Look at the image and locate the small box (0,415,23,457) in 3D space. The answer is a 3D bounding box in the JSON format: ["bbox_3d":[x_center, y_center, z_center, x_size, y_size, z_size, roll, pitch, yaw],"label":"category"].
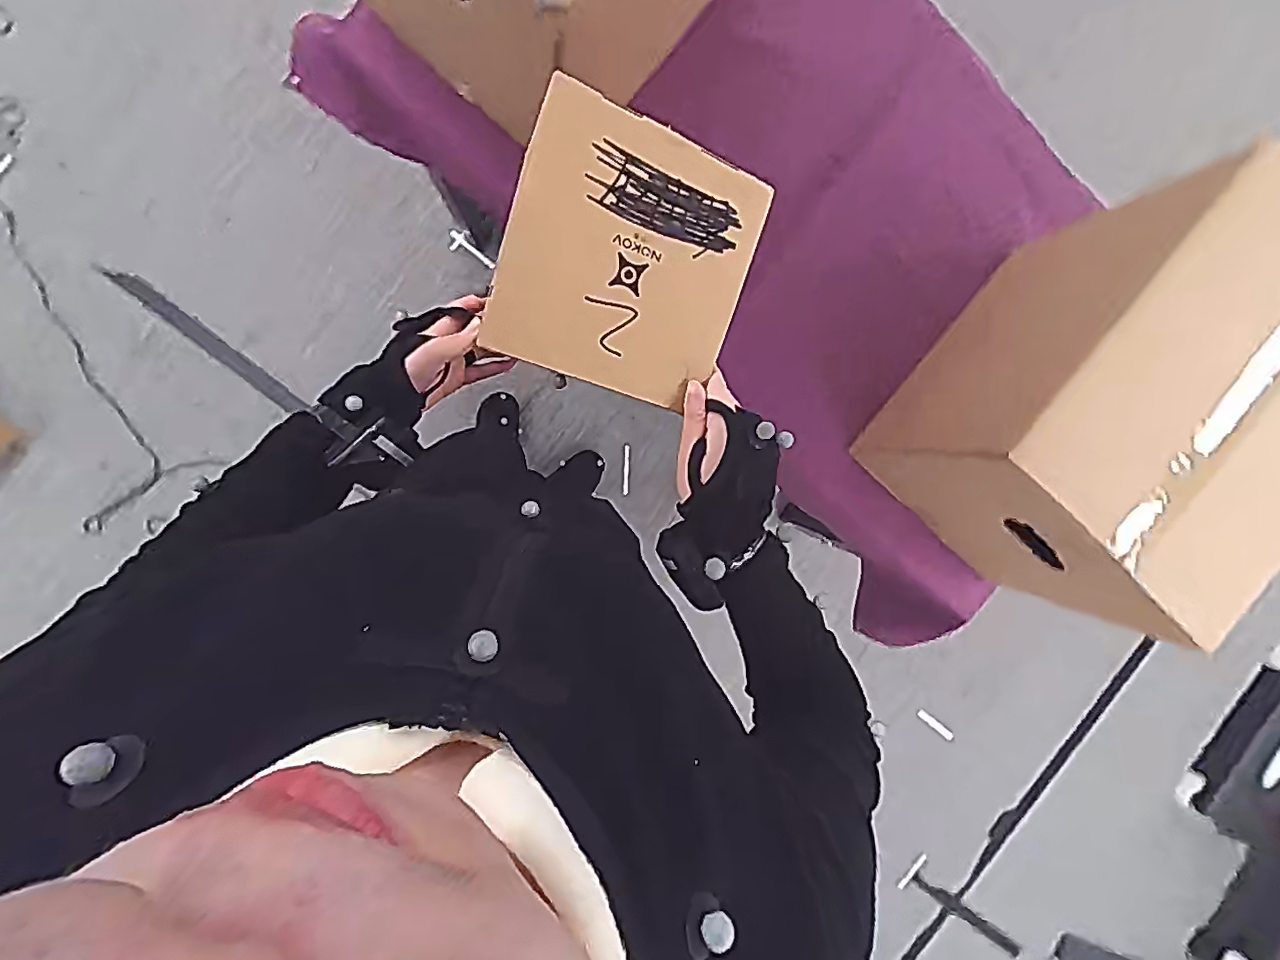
[{"bbox_3d":[-1.596,-0.106,1.223,0.168,0.176,0.179,-45,99,0],"label":"small box"}]
